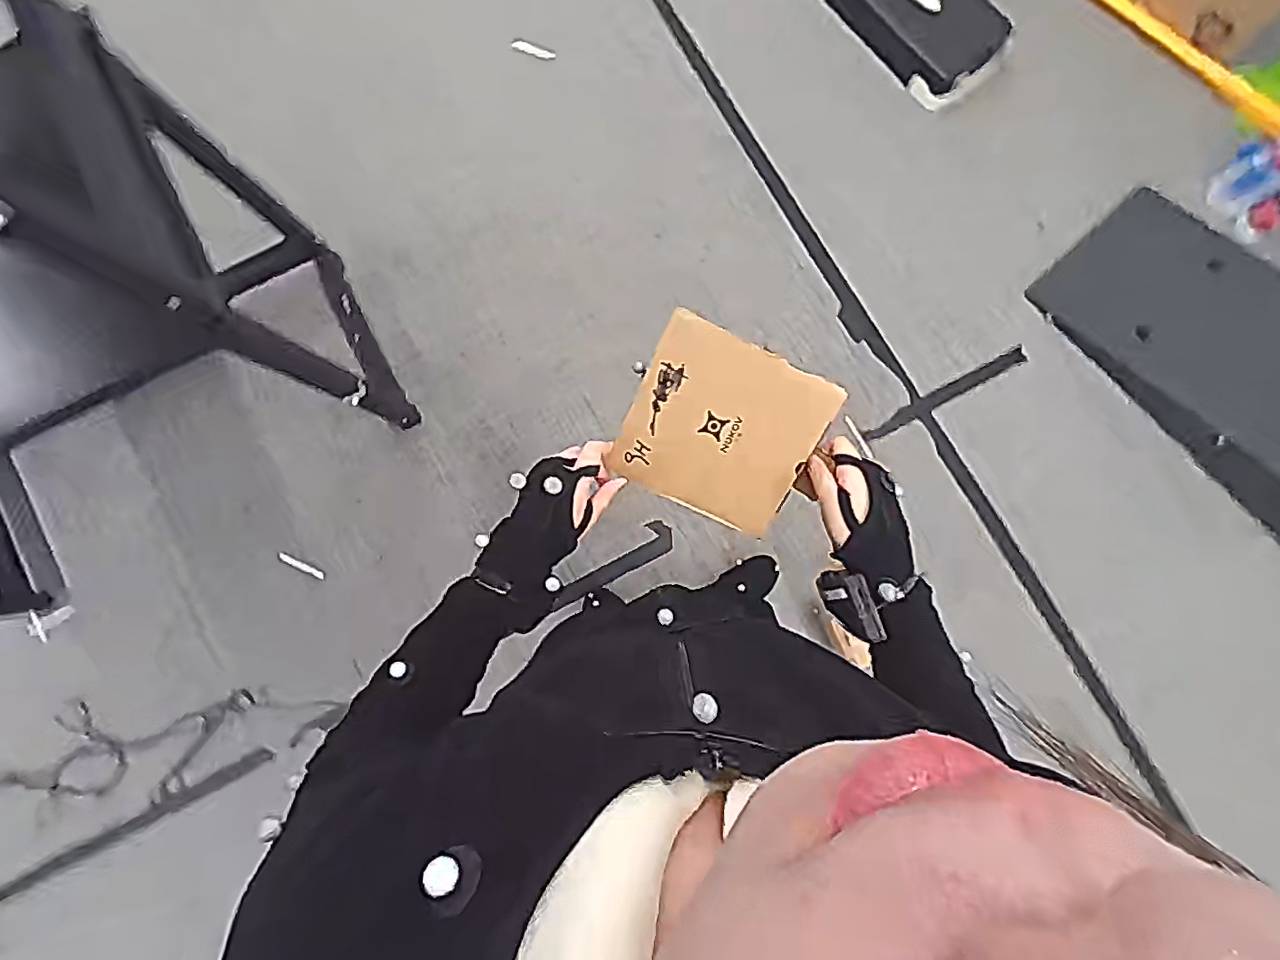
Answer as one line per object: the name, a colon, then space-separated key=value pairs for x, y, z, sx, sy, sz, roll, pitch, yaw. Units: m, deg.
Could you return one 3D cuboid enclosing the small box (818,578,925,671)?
small box: x=0.576 y=0.362 z=1.381 sx=0.179 sy=0.176 sz=0.168 roll=-22 pitch=85 yaw=-3
